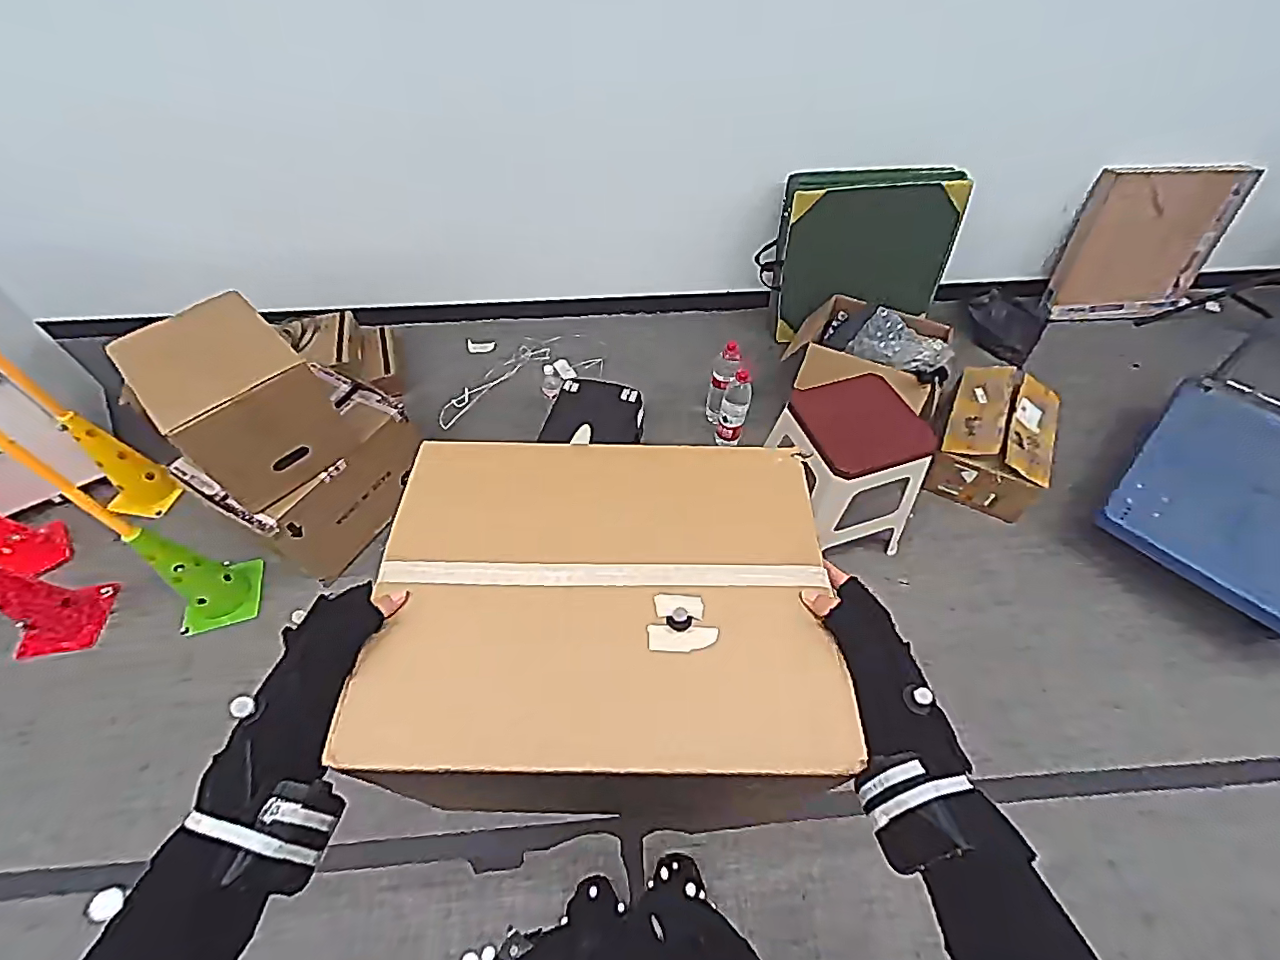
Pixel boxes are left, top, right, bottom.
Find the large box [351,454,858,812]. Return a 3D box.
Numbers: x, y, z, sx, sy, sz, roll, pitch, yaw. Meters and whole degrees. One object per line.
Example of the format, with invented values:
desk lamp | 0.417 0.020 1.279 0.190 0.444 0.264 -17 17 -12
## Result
large box | -0.030 0.185 0.625 0.408 0.320 0.320 1 53 -1
